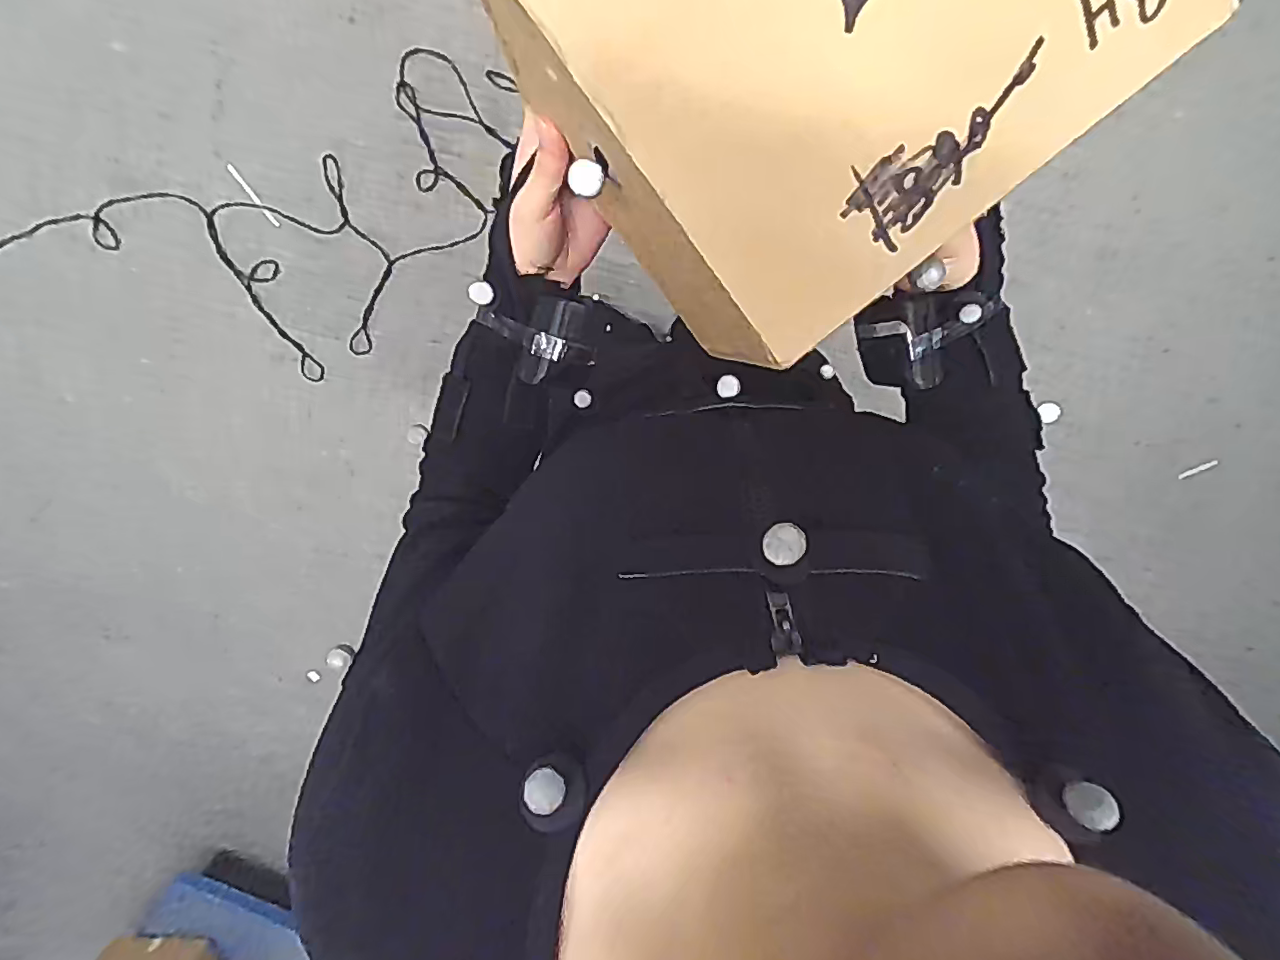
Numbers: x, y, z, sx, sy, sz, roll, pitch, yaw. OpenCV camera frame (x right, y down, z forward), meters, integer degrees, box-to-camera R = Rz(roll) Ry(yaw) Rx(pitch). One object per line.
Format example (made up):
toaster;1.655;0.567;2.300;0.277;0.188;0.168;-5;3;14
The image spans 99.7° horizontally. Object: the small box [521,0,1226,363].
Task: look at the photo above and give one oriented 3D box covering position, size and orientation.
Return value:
small box;0.066;-0.170;0.242;0.168;0.176;0.179;-38;101;9
